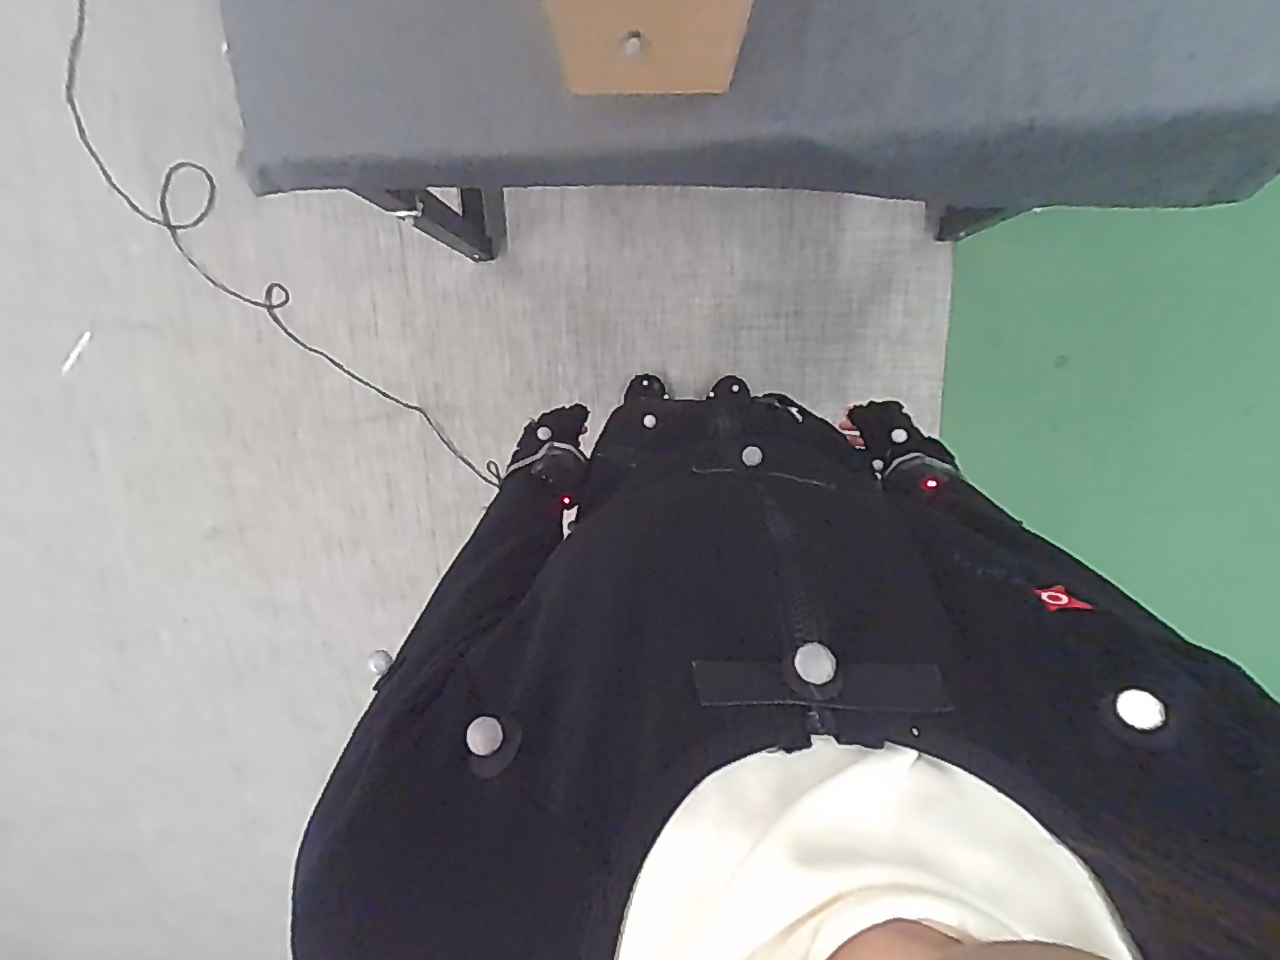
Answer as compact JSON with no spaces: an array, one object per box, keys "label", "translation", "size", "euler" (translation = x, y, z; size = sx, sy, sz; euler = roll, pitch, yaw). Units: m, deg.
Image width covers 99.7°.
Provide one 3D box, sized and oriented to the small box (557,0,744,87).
[{"label":"small box","translation":[0.010,-0.503,0.510],"size":[0.179,0.176,0.168],"euler":[1,101,1]}]
